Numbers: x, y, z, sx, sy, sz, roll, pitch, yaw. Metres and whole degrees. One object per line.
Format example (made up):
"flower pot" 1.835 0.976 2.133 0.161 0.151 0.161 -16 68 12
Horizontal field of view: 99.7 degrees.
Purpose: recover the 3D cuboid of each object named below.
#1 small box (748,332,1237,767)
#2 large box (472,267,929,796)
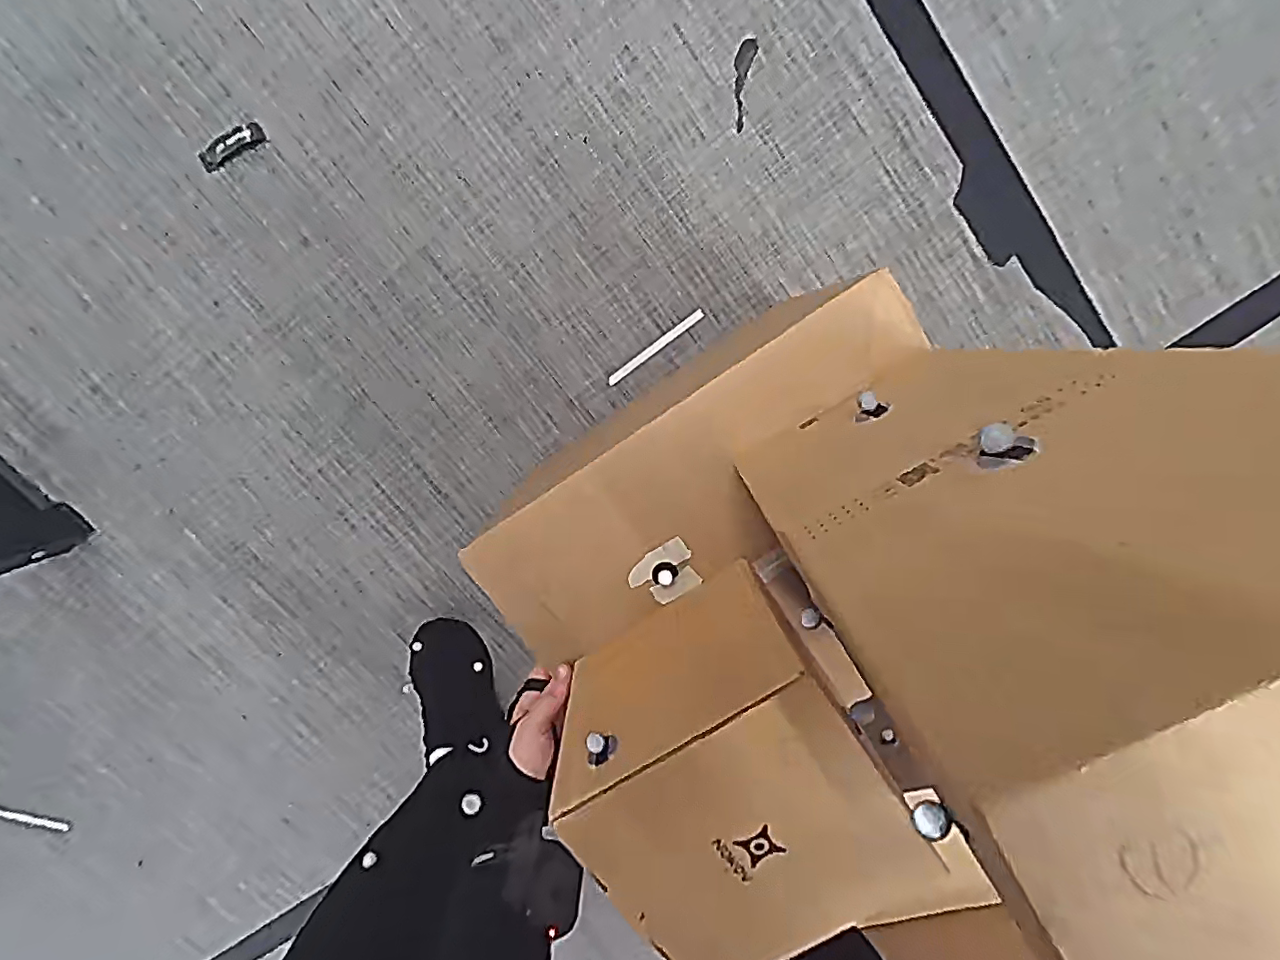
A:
"small box" 0.187 0.027 0.343 0.168 0.176 0.179 -31 102 9
"large box" 0.105 0.035 0.599 0.408 0.320 0.320 -34 100 9
